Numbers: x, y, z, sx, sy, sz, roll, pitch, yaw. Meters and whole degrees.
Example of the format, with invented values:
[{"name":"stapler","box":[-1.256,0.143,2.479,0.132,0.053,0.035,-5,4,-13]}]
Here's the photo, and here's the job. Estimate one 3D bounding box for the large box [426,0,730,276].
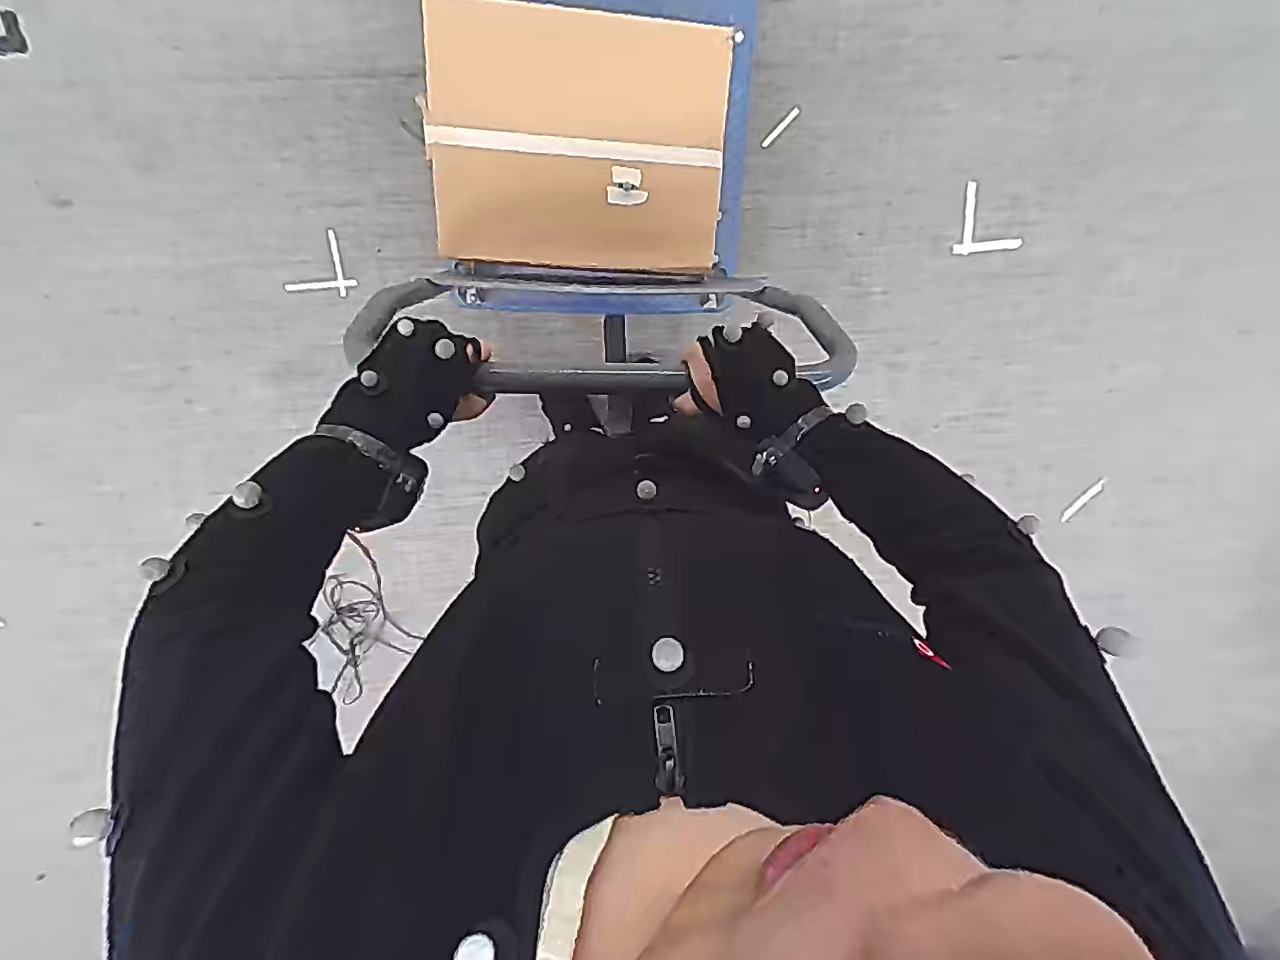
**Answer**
[{"name":"large box","box":[-0.100,-0.510,0.892,0.408,0.320,0.320,0,110,-8]}]
